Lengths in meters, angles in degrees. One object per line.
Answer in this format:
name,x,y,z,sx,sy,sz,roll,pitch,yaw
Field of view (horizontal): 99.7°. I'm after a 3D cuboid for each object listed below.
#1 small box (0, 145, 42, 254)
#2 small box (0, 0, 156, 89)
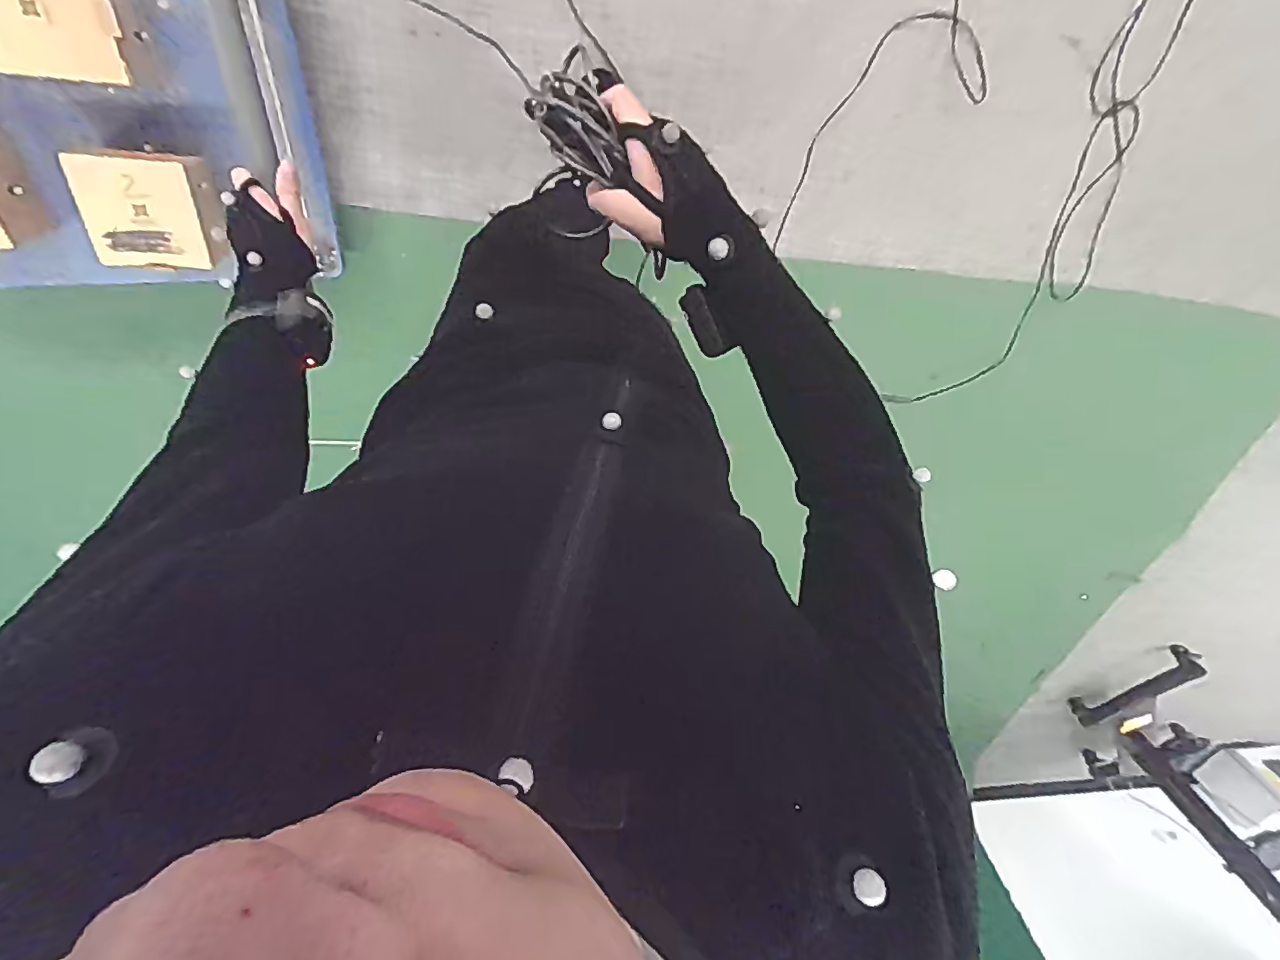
small box,-1.156,-0.469,0.888,0.179,0.176,0.168,-13,126,-17
small box,-0.908,-0.715,0.835,0.179,0.176,0.168,-9,126,-21
